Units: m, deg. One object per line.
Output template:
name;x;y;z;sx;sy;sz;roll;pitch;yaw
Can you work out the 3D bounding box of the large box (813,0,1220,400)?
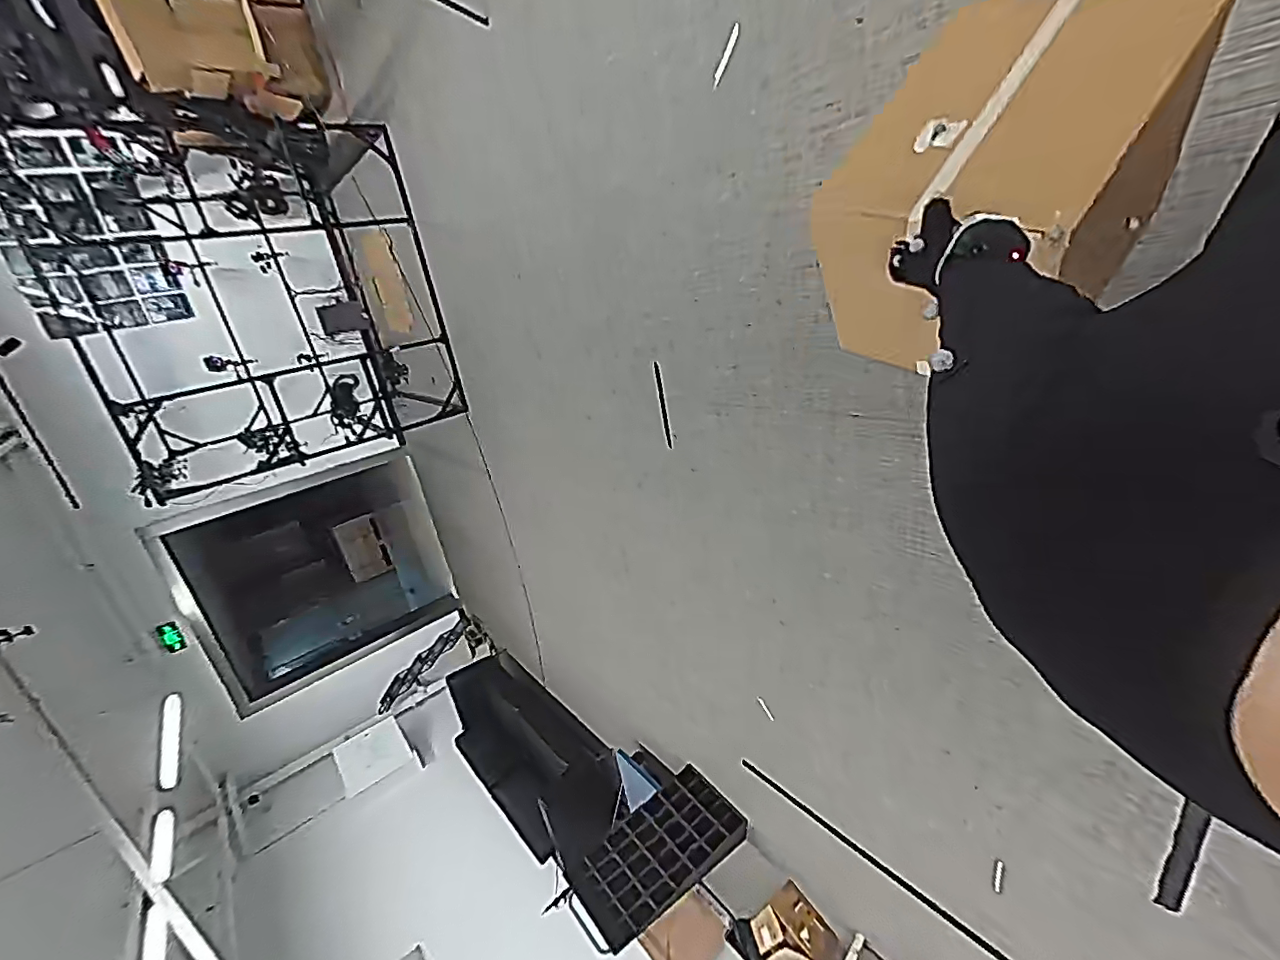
large box;0.526;-0.400;0.811;0.320;0.408;0.320;31;172;39
